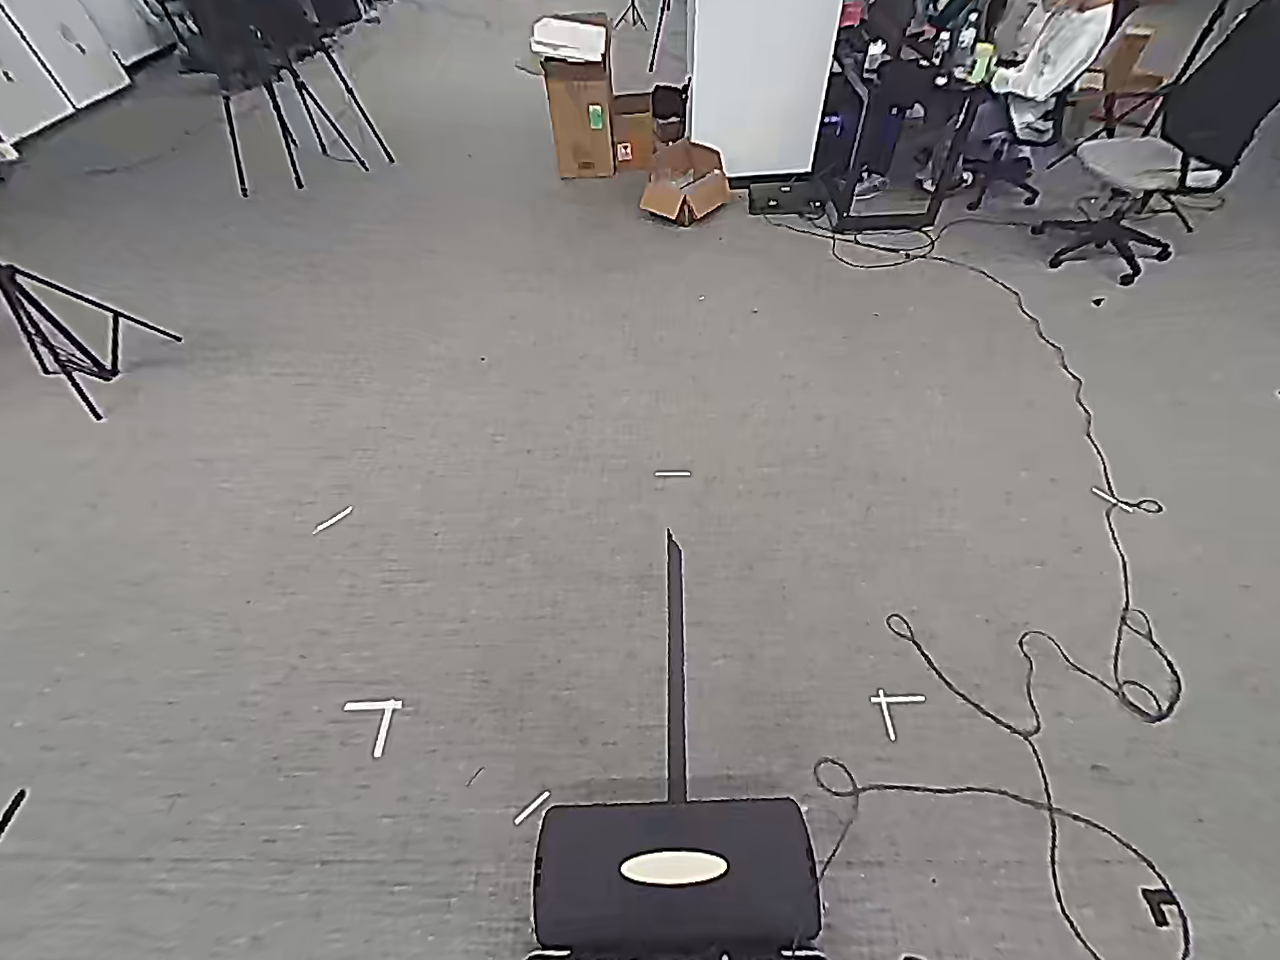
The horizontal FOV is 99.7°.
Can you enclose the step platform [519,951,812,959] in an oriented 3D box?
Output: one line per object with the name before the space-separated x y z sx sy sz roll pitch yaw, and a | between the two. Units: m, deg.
step platform | 0.050 1.143 1.087 0.684 0.204 0.286 -3 50 3
